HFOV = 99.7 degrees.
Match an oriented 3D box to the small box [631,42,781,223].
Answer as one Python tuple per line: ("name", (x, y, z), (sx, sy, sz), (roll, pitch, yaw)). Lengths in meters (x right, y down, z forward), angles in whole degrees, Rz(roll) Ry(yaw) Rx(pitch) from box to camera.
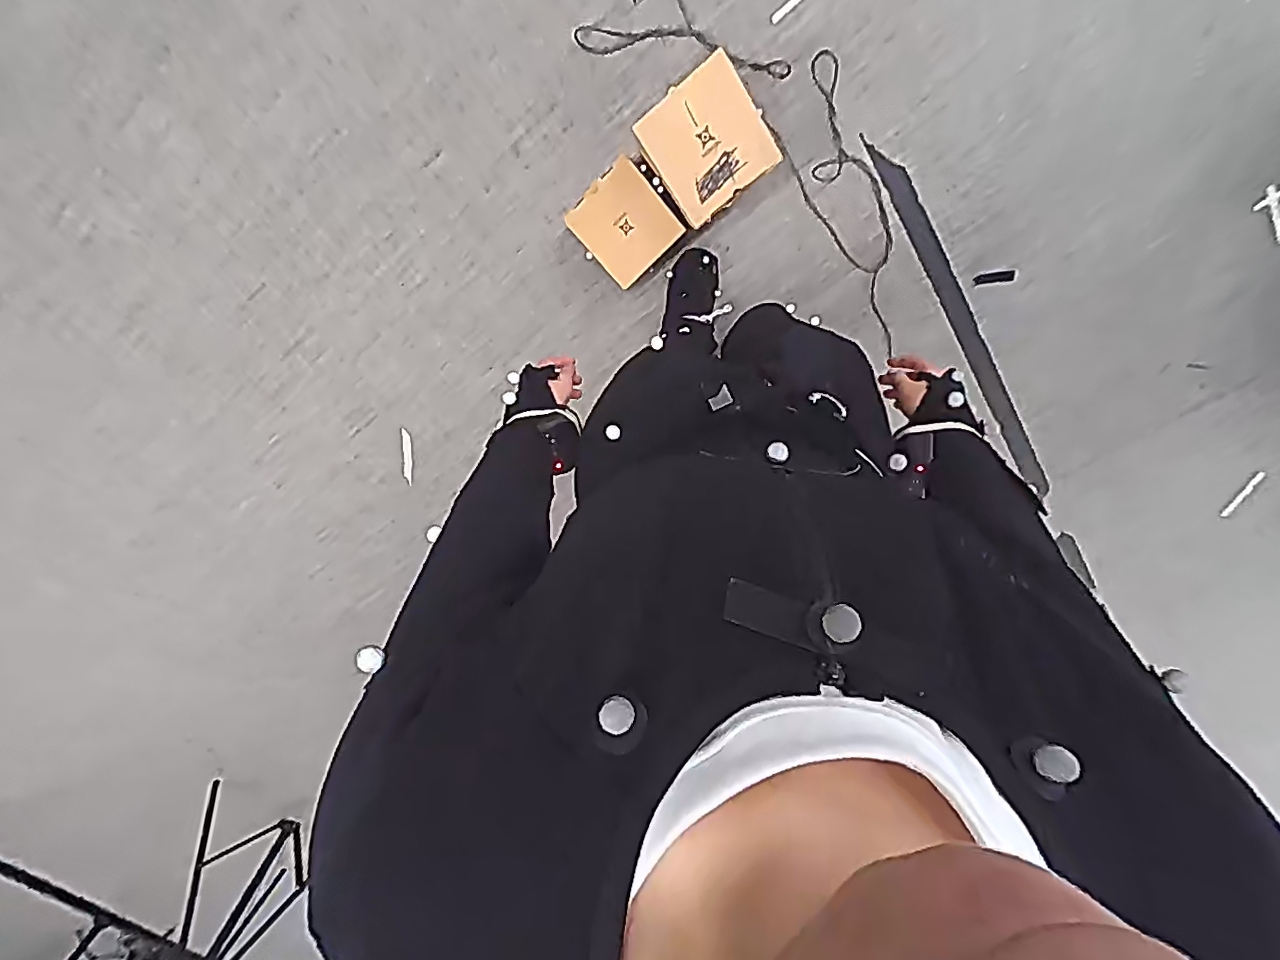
("small box", (0.105, -0.550, 0.880), (0.168, 0.176, 0.179), (-33, 111, 17))
